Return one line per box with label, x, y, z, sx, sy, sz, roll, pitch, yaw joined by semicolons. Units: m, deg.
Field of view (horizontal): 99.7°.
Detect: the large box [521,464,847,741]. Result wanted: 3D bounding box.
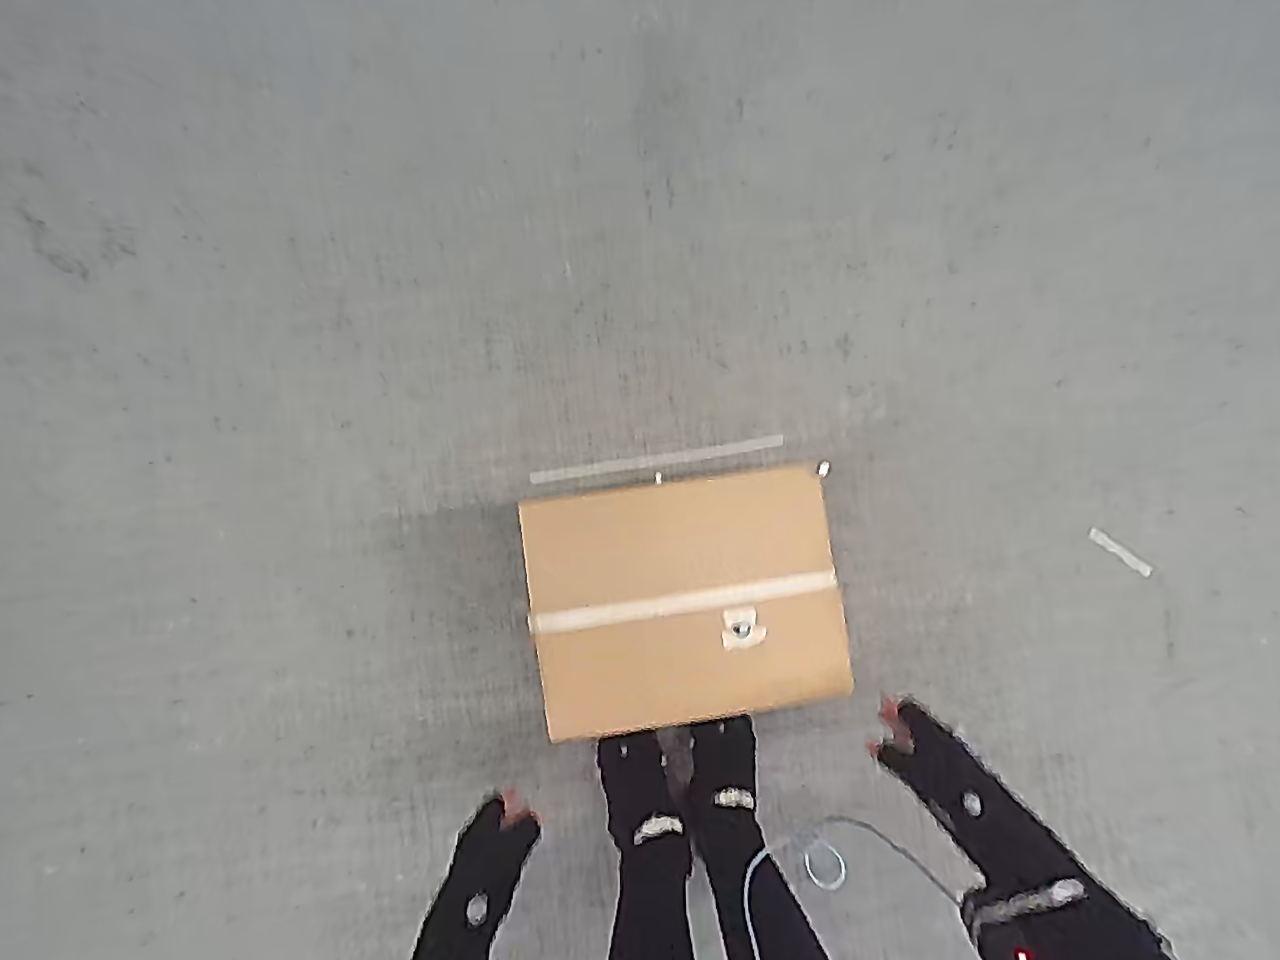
large box;0.052;0.170;0.869;0.408;0.320;0.320;-9;88;-3
